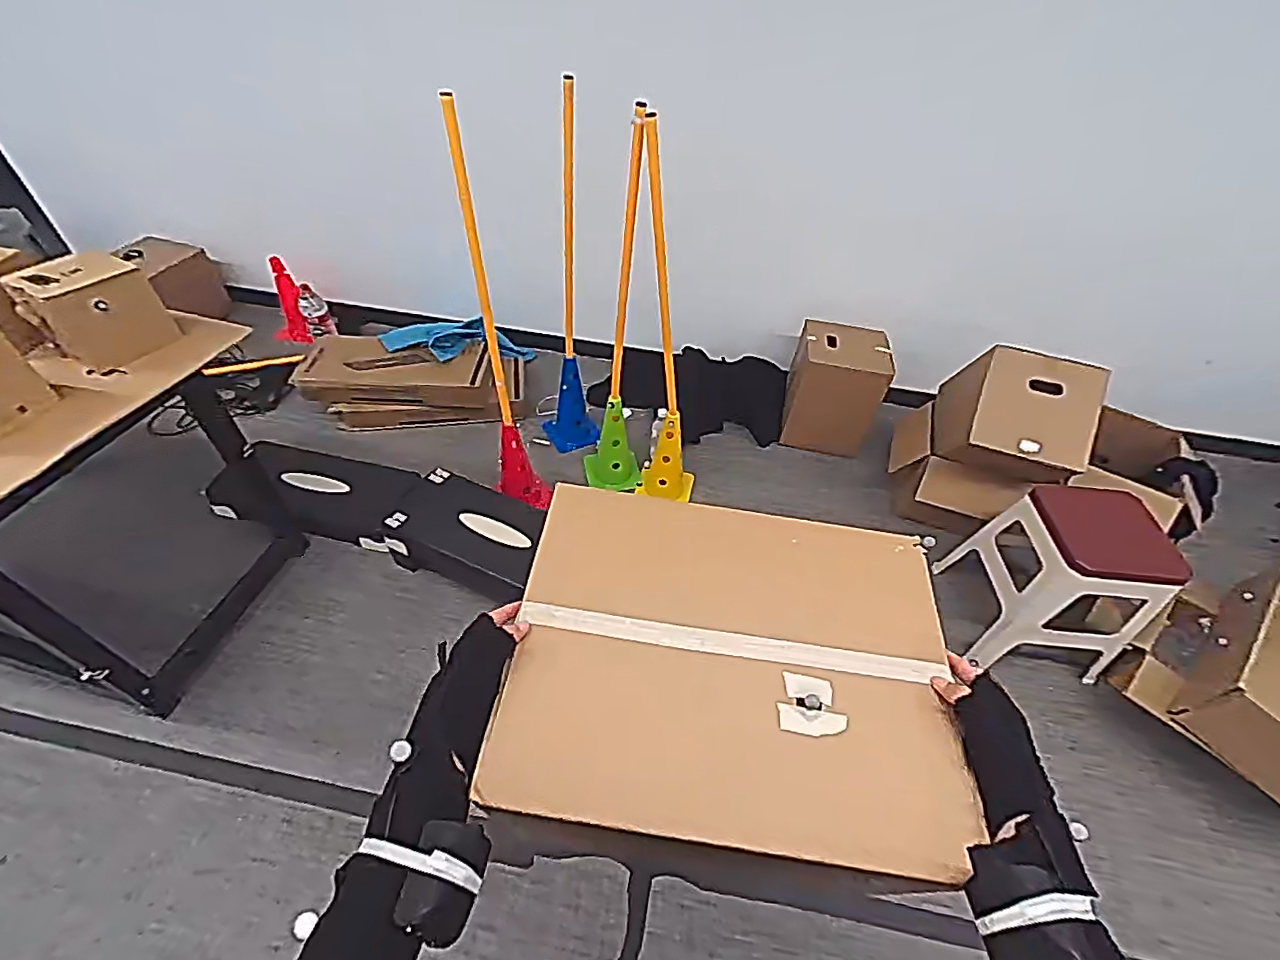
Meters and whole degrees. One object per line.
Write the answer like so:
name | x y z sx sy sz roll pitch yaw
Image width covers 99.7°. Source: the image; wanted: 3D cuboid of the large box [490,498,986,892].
large box | 0.079 0.257 0.629 0.408 0.320 0.320 9 52 1
